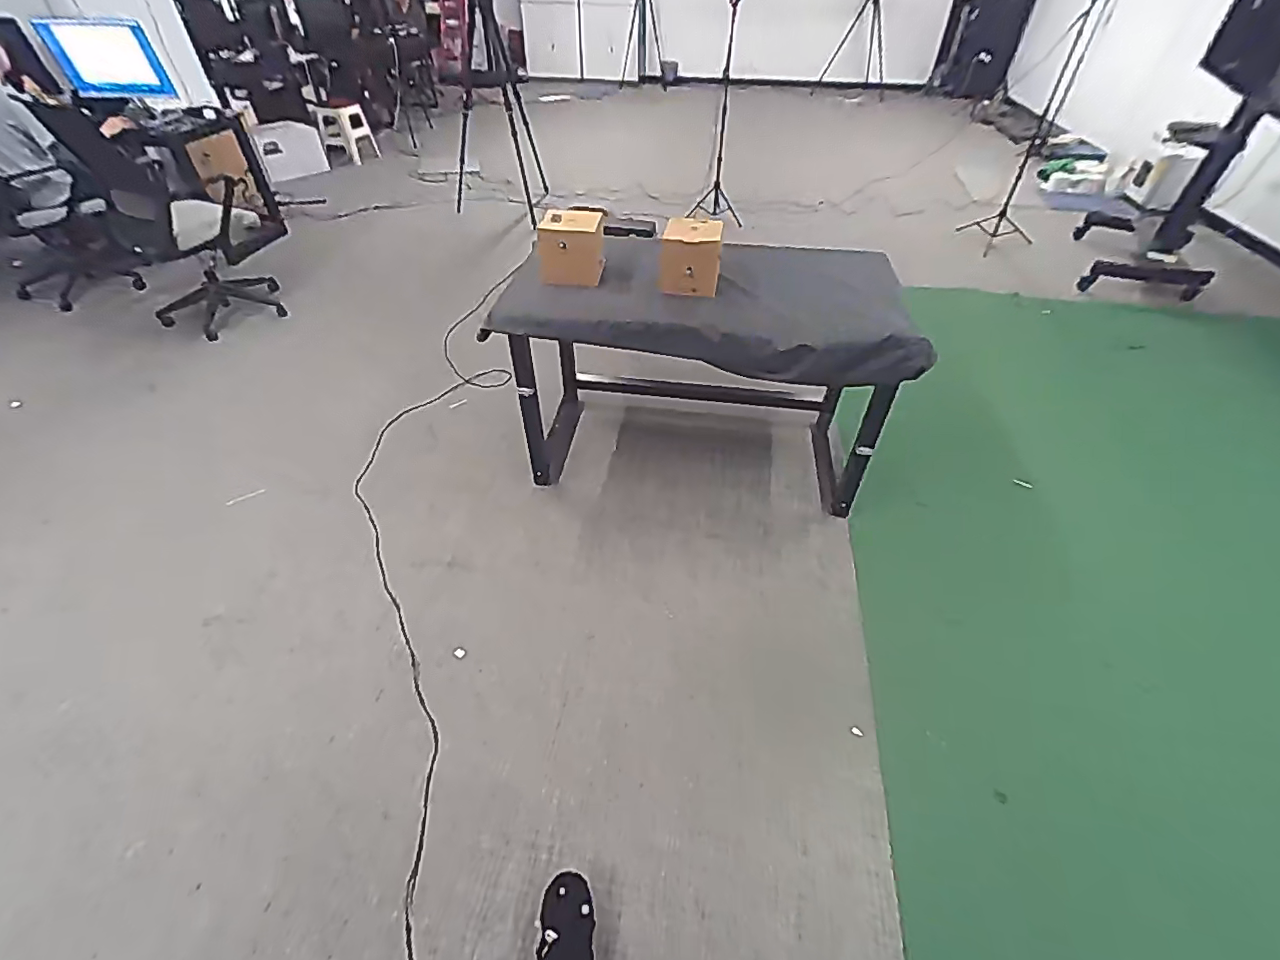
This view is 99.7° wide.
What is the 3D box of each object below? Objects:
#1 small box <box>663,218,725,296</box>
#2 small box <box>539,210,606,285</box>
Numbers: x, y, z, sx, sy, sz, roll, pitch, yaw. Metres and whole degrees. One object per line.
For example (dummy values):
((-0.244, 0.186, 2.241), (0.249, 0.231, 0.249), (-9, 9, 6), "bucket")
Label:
((0.162, -0.675, 1.638), (0.168, 0.176, 0.179), (7, 45, 7), "small box")
((-0.203, -0.723, 1.681), (0.179, 0.176, 0.168), (5, 45, 3), "small box")
